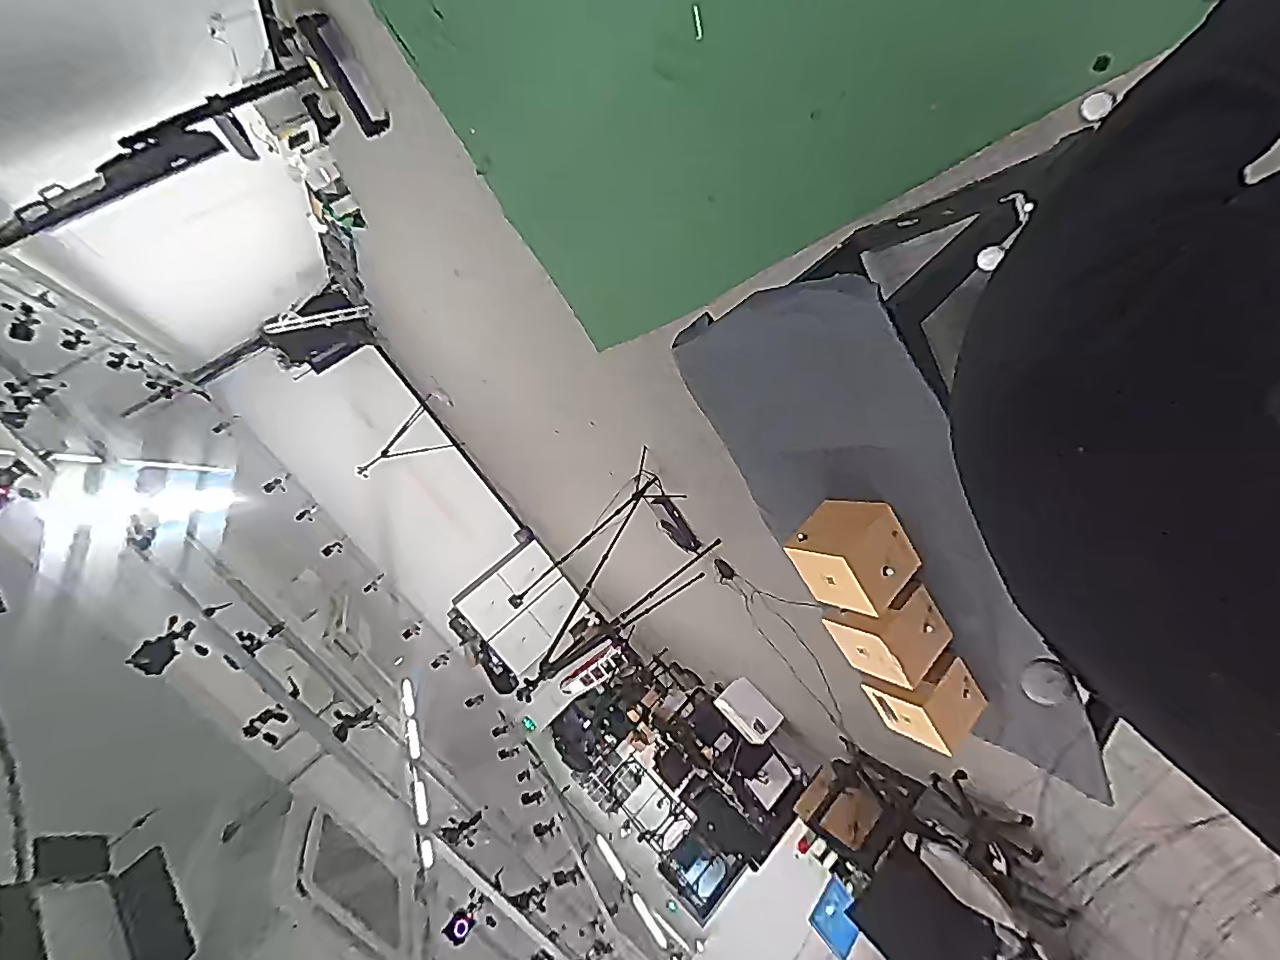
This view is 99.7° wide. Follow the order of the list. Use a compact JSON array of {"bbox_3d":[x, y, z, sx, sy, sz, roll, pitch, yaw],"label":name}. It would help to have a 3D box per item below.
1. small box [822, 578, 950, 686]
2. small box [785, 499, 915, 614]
[{"bbox_3d":[0.566,0.331,1.246,0.168,0.176,0.179,54,159,-15],"label":"small box"},{"bbox_3d":[0.456,0.154,1.161,0.168,0.176,0.179,55,160,-15],"label":"small box"}]
